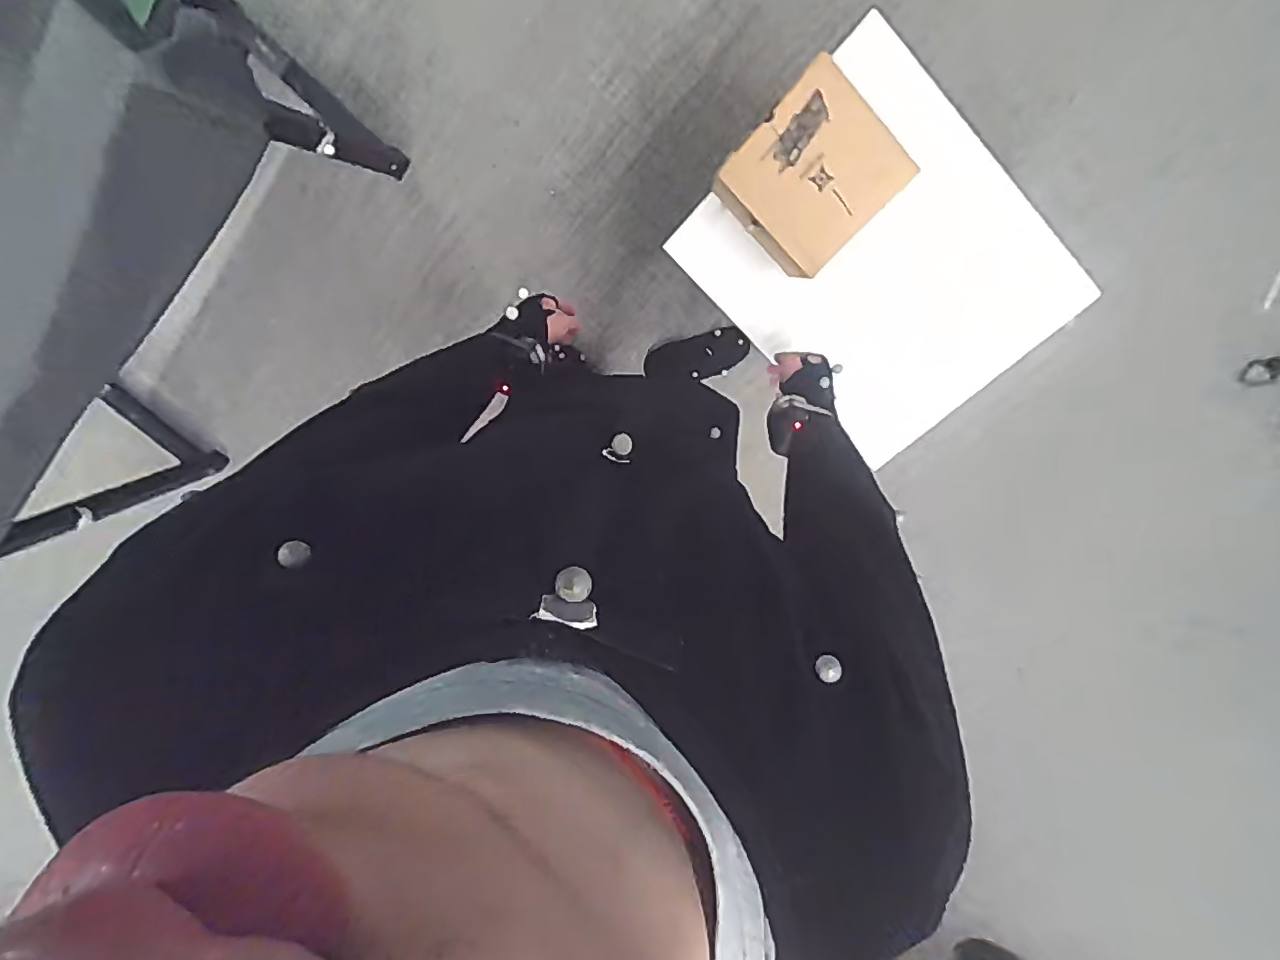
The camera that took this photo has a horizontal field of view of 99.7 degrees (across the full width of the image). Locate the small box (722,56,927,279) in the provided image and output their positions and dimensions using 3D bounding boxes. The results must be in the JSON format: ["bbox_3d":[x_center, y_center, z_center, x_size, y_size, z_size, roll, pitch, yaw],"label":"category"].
[{"bbox_3d":[0.222,-0.385,0.706,0.179,0.176,0.168,43,110,-12],"label":"small box"}]
